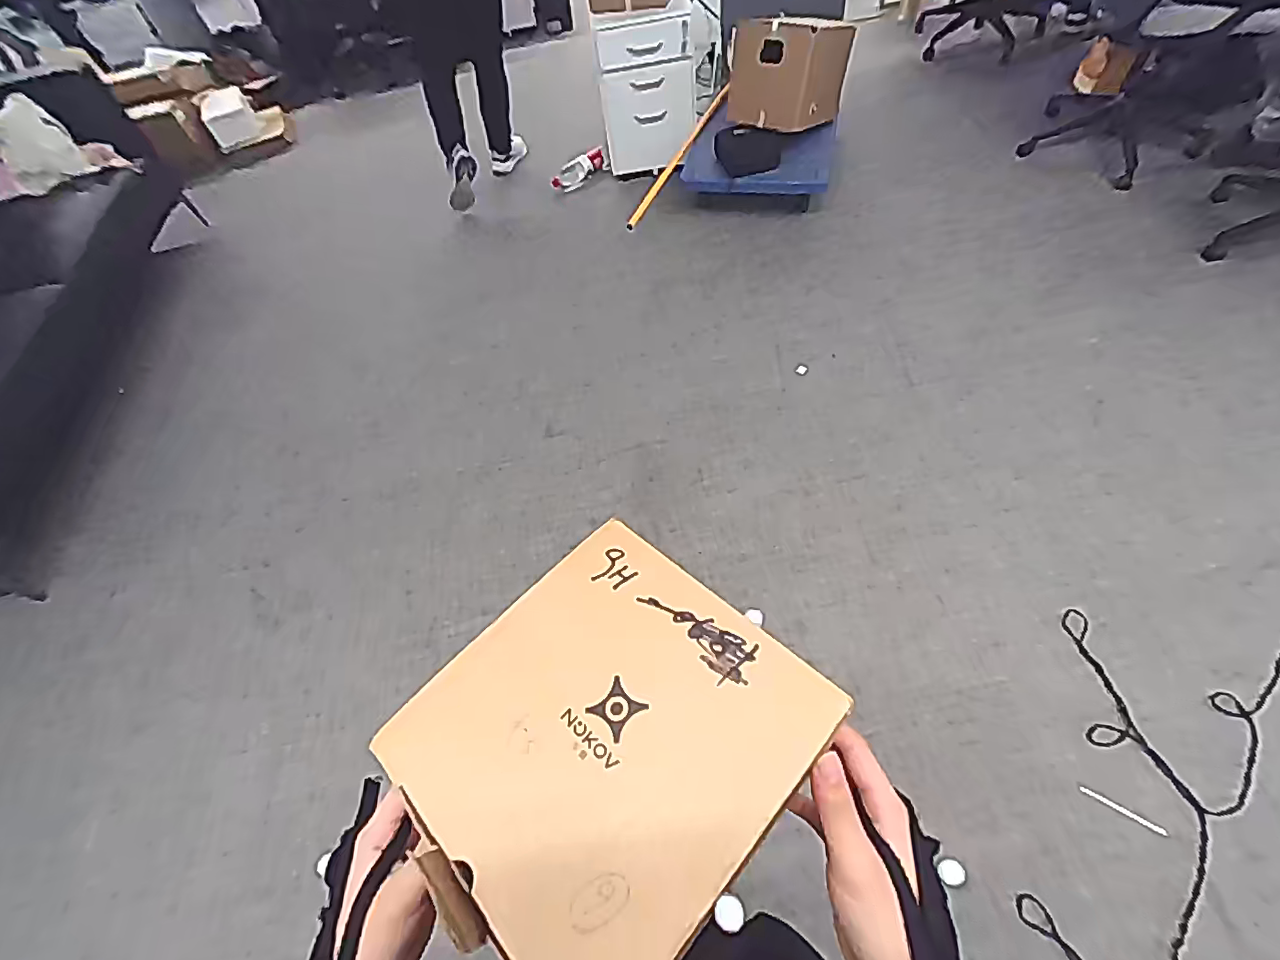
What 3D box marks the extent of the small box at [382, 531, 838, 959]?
[{"bbox_3d":[-0.007,0.173,0.330,0.168,0.176,0.179,34,65,30],"label":"small box"}]
